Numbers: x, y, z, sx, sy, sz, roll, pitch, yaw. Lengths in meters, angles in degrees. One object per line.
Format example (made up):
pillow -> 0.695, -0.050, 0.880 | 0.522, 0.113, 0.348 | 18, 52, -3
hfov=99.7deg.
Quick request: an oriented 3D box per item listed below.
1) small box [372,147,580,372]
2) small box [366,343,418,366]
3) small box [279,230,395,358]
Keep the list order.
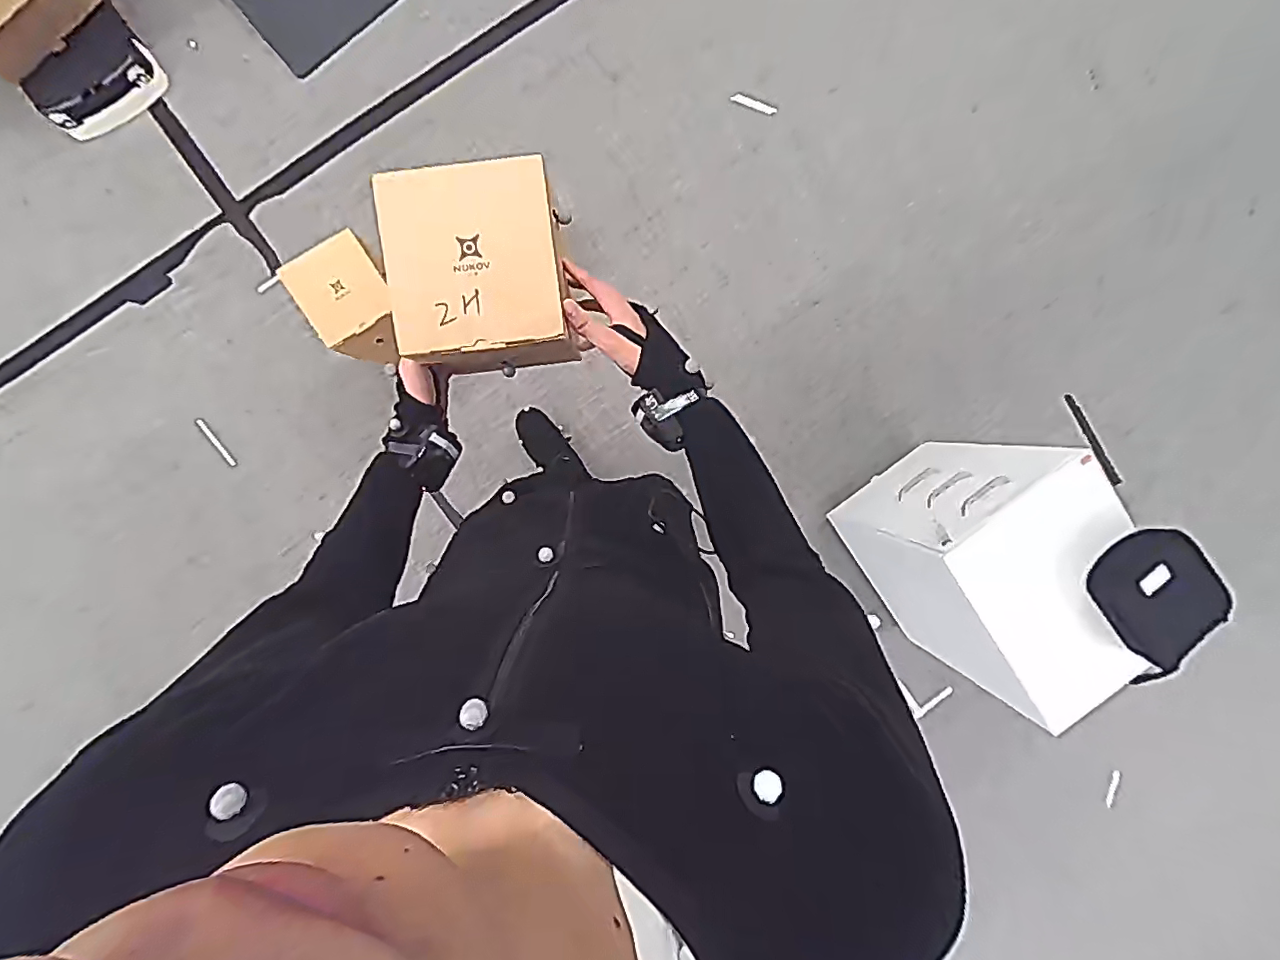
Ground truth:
small box -> -0.162, -0.223, 0.588 | 0.168, 0.176, 0.179 | -7, 95, 0
small box -> -0.592, -0.389, 1.285 | 0.179, 0.176, 0.168 | -35, 98, -3
small box -> -0.586, -0.374, 1.123 | 0.168, 0.176, 0.179 | -33, 98, -3
